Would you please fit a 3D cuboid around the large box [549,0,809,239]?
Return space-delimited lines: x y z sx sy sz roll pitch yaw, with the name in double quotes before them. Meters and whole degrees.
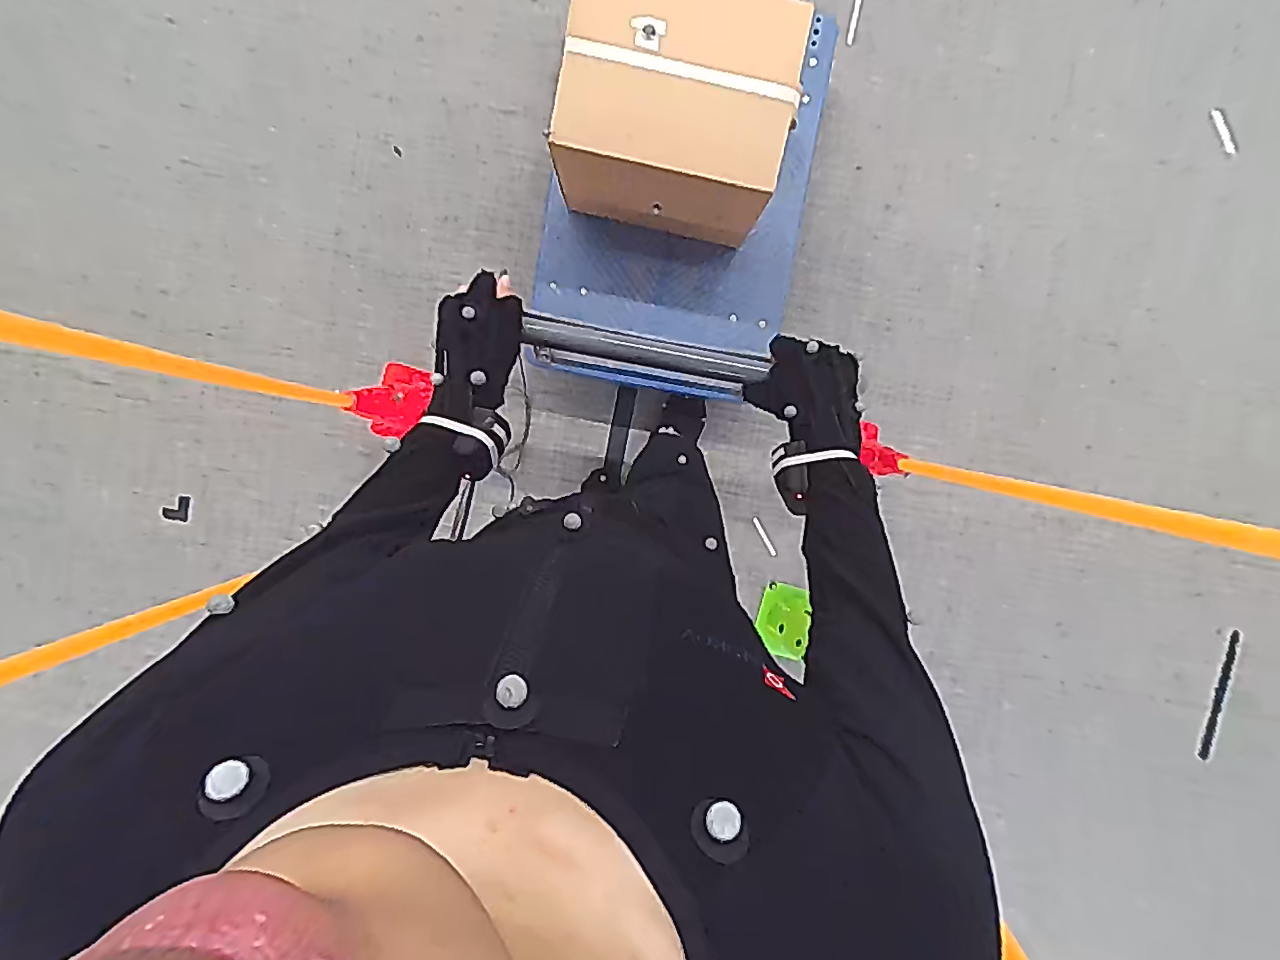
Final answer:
"large box" 0.065 -0.711 1.070 0.408 0.320 0.320 12 96 -1

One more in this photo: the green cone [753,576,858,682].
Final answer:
"green cone" 0.435 0.397 1.330 0.202 0.368 0.200 14 95 -3

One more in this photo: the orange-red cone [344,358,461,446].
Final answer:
"orange-red cone" -0.584 -0.191 1.259 0.198 0.360 0.199 18 94 -3

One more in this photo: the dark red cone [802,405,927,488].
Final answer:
"dark red cone" 0.544 -0.072 1.267 0.201 0.394 0.202 10 96 -4
